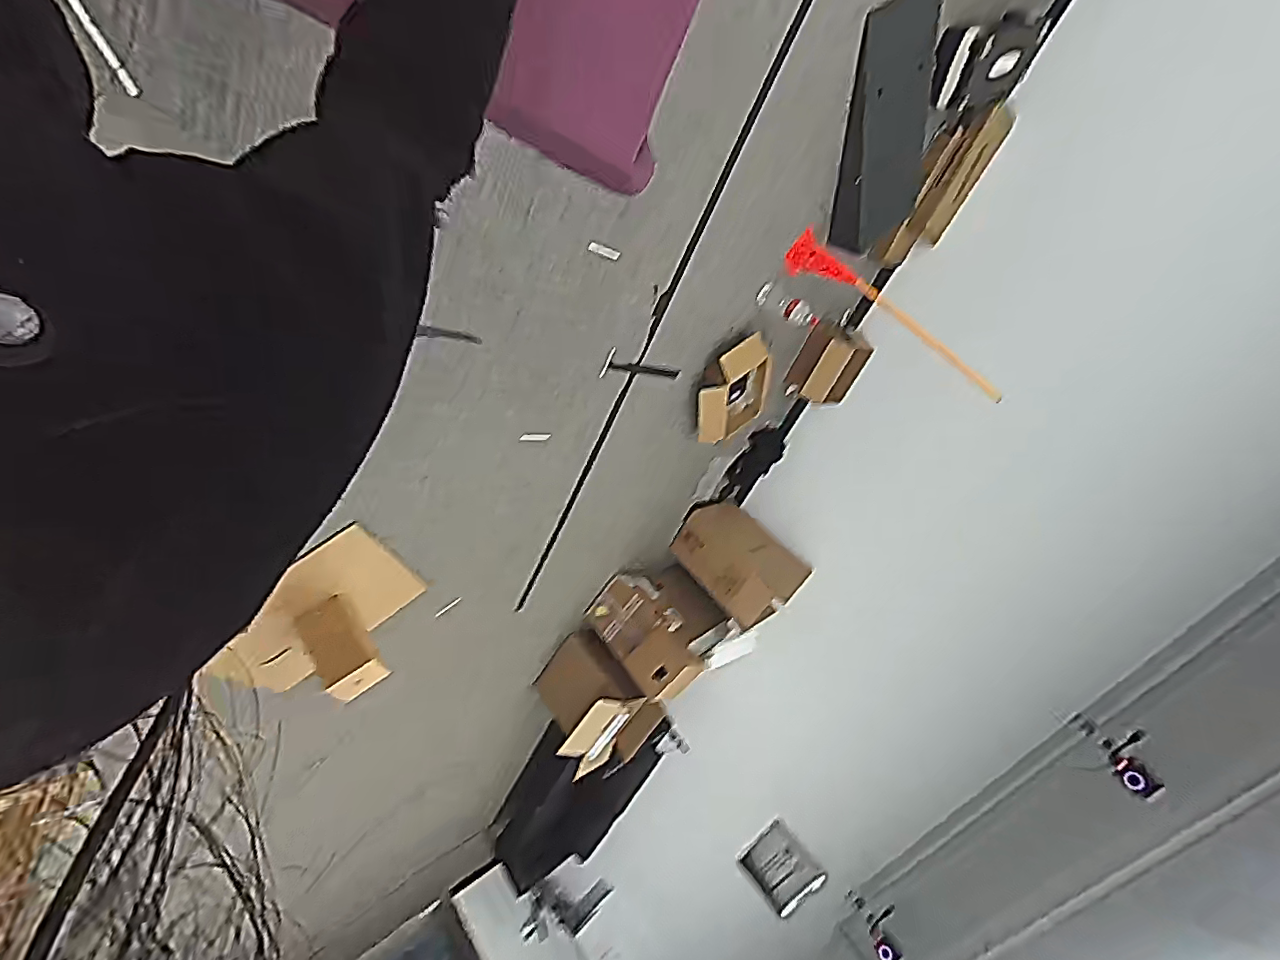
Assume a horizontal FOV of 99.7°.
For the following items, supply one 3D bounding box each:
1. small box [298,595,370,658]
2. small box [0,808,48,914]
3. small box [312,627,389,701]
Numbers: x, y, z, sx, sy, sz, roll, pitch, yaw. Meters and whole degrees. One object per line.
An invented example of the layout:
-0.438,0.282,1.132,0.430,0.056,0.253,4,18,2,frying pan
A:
-1.174,0.577,2.068,0.179,0.176,0.168,-33,150,-19,small box
-1.595,0.951,1.329,0.168,0.176,0.179,-9,135,-48,small box
-1.068,0.675,1.992,0.179,0.176,0.168,-33,150,-20,small box
